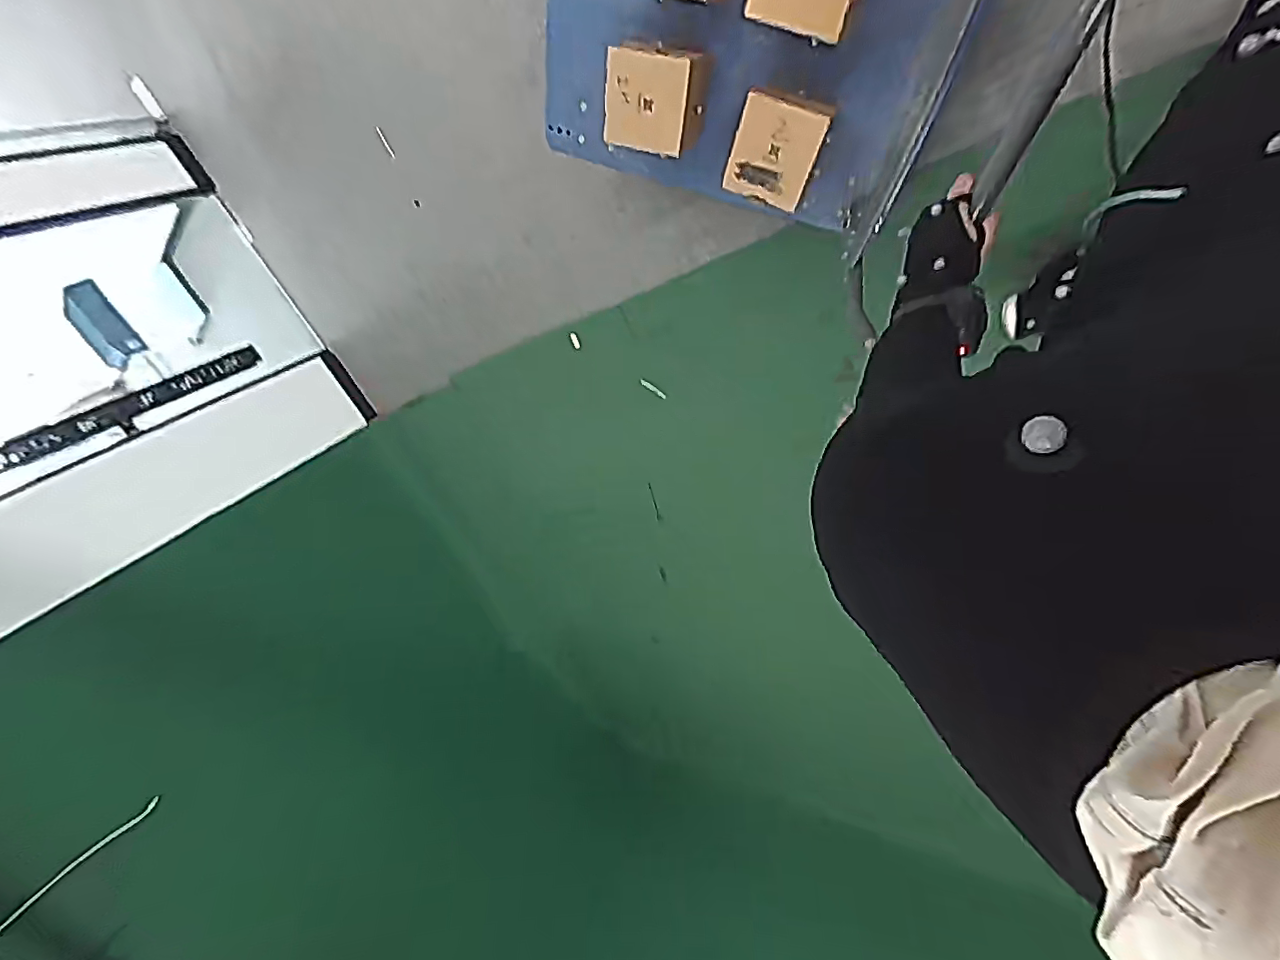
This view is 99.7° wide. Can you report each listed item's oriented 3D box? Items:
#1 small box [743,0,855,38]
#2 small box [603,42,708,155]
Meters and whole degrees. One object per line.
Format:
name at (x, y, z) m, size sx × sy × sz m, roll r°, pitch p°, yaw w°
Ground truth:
small box at (0.303, -0.905, 0.950) m, size 0.179 × 0.176 × 0.168 m, roll 22°, pitch 136°, yaw 6°
small box at (0.034, -0.820, 1.158) m, size 0.179 × 0.176 × 0.168 m, roll 18°, pitch 134°, yaw 11°
